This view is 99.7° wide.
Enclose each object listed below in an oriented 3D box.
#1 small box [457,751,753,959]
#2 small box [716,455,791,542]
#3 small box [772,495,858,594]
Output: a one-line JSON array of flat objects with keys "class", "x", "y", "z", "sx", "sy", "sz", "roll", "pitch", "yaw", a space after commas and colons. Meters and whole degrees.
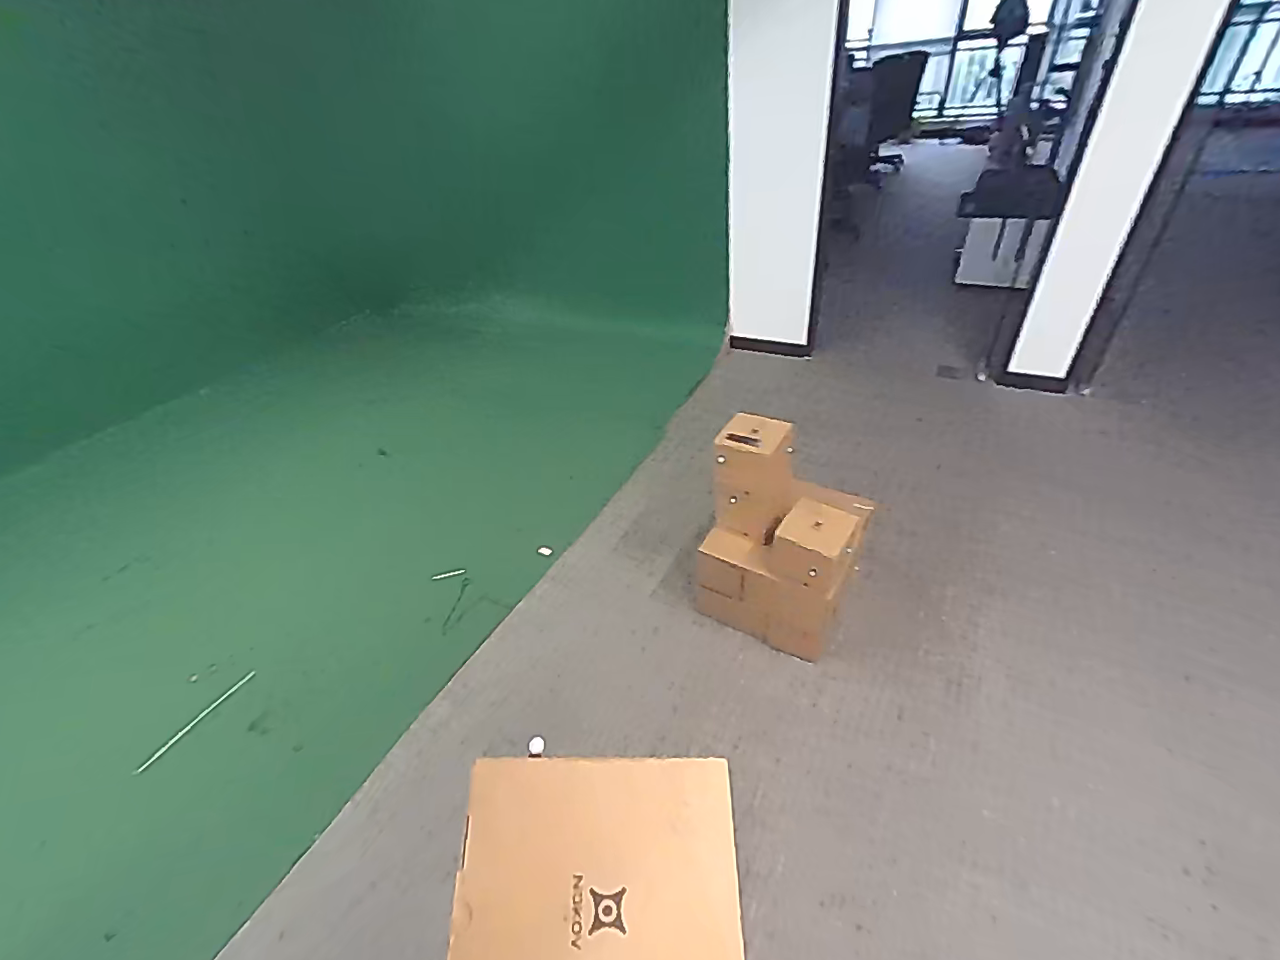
[{"class": "small box", "x": -0.026, "y": 0.294, "z": 0.400, "sx": 0.179, "sy": 0.176, "sz": 0.168, "roll": 1, "pitch": 62, "yaw": -3}, {"class": "small box", "x": 0.342, "y": 0.055, "z": 1.645, "sx": 0.168, "sy": 0.176, "sz": 0.179, "roll": 20, "pitch": 45, "yaw": 31}, {"class": "small box", "x": 0.471, "y": 0.177, "z": 1.471, "sx": 0.168, "sy": 0.176, "sz": 0.179, "roll": 23, "pitch": 46, "yaw": 30}]
